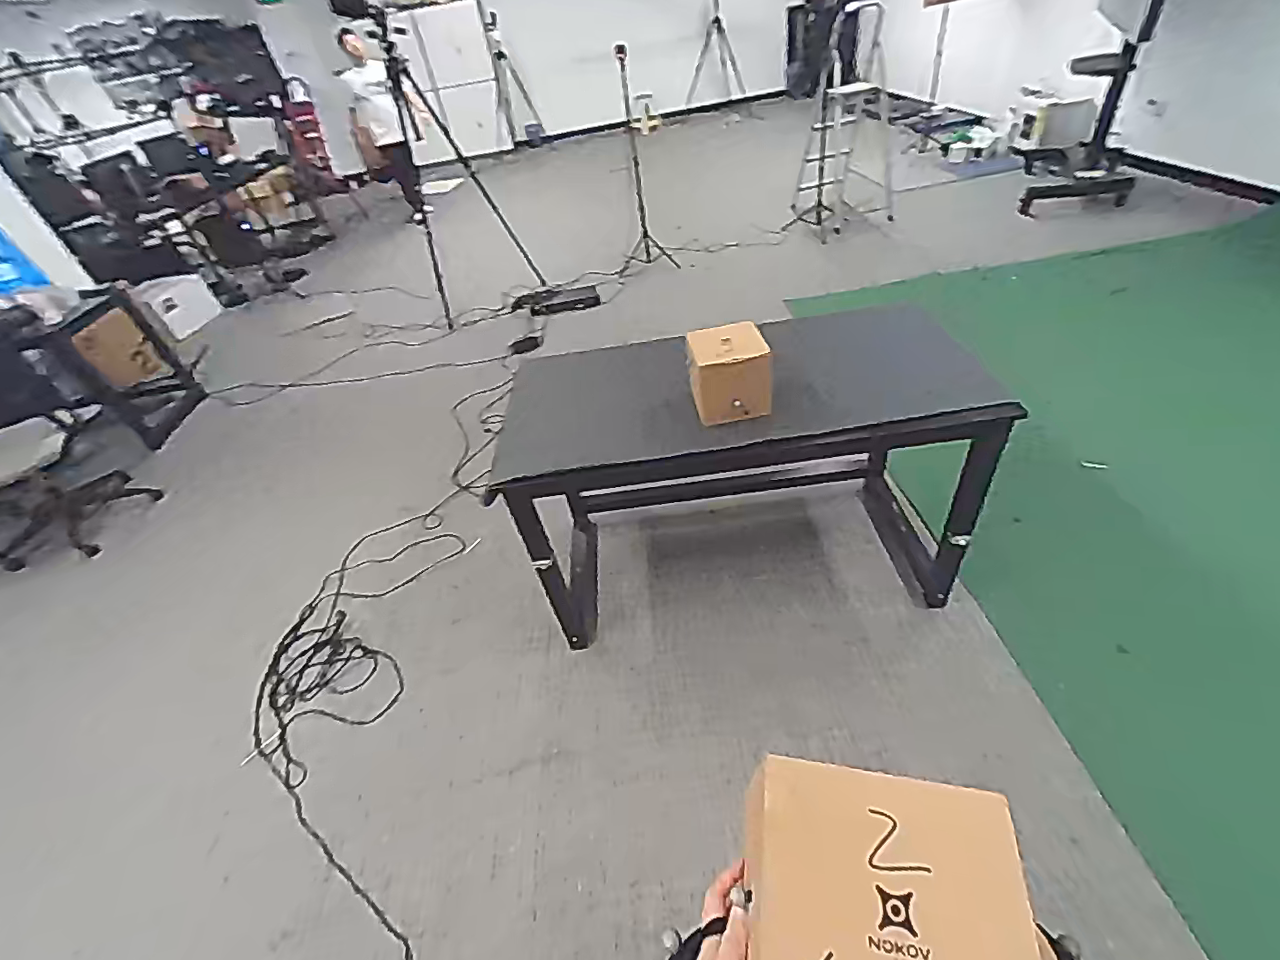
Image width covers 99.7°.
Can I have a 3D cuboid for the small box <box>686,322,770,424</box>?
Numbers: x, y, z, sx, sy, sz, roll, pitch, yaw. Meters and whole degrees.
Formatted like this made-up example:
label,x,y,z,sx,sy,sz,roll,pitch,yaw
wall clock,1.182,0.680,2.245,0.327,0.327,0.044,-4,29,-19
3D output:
label,x,y,z,sx,sy,sz,roll,pitch,yaw
small box,0.210,-0.259,1.308,0.168,0.176,0.179,-11,40,1
